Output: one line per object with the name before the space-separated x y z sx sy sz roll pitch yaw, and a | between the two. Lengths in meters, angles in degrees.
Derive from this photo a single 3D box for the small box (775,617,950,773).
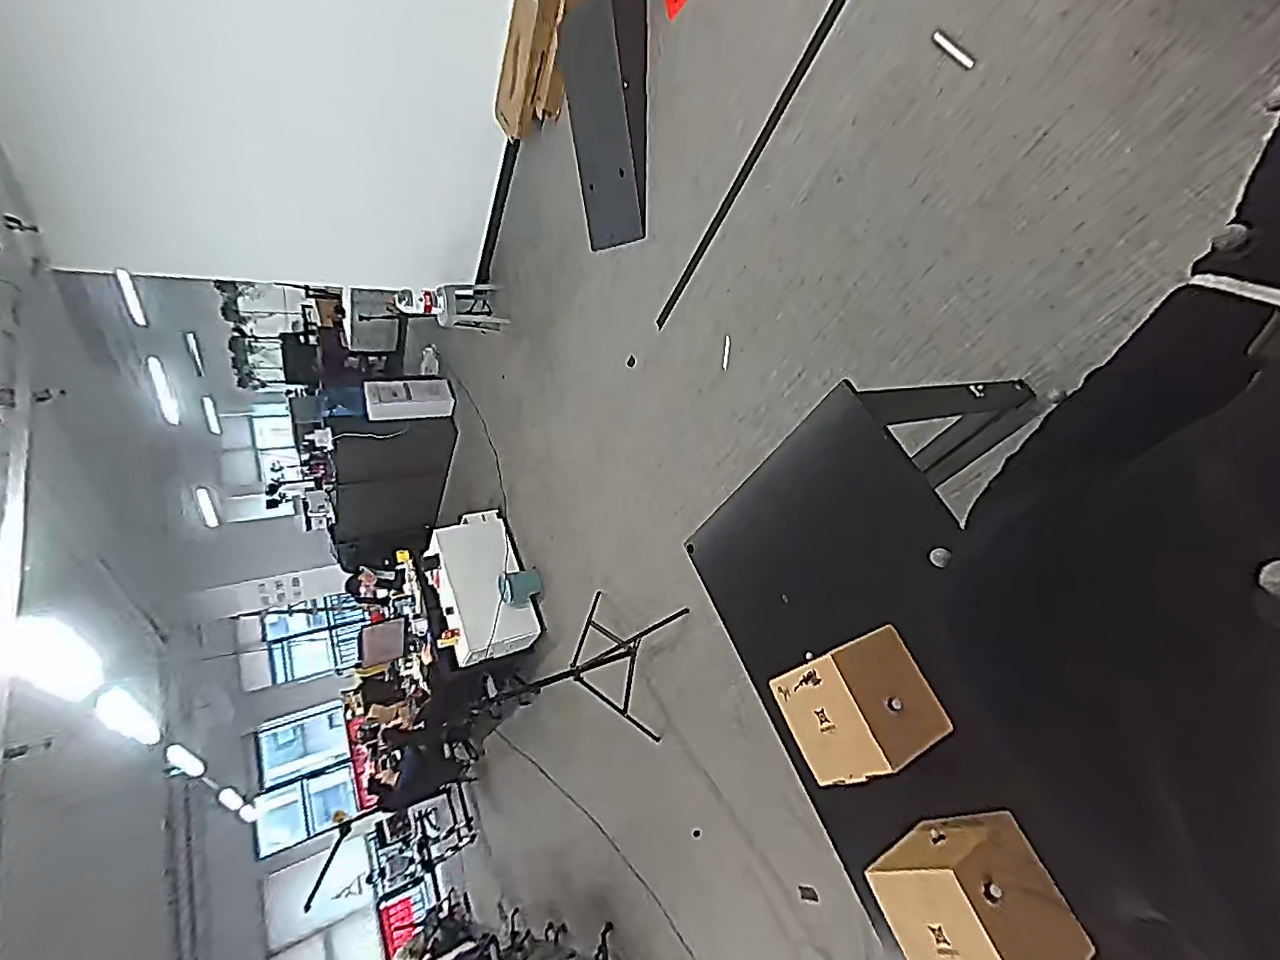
small box | 0.369 0.355 0.901 0.179 0.176 0.168 64 144 22

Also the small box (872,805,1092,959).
small box | 0.486 0.595 0.780 0.179 0.176 0.168 64 145 25
